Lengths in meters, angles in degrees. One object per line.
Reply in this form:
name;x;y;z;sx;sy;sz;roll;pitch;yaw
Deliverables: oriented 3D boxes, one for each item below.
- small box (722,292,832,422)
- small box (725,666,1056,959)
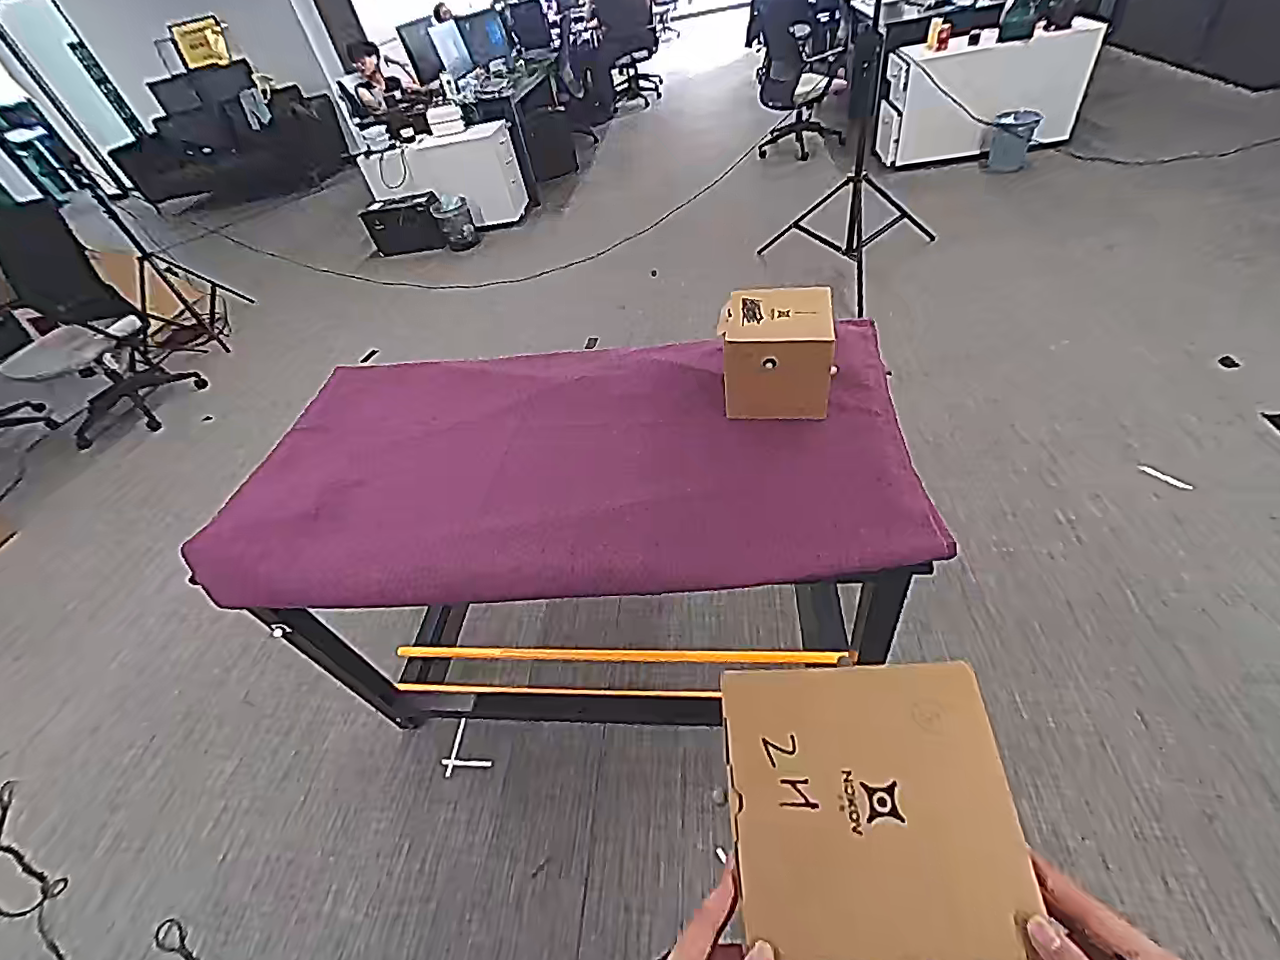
small box;0.248;-0.219;0.979;0.179;0.176;0.168;3;48;14
small box;0.159;0.244;0.419;0.179;0.176;0.168;-5;60;7
